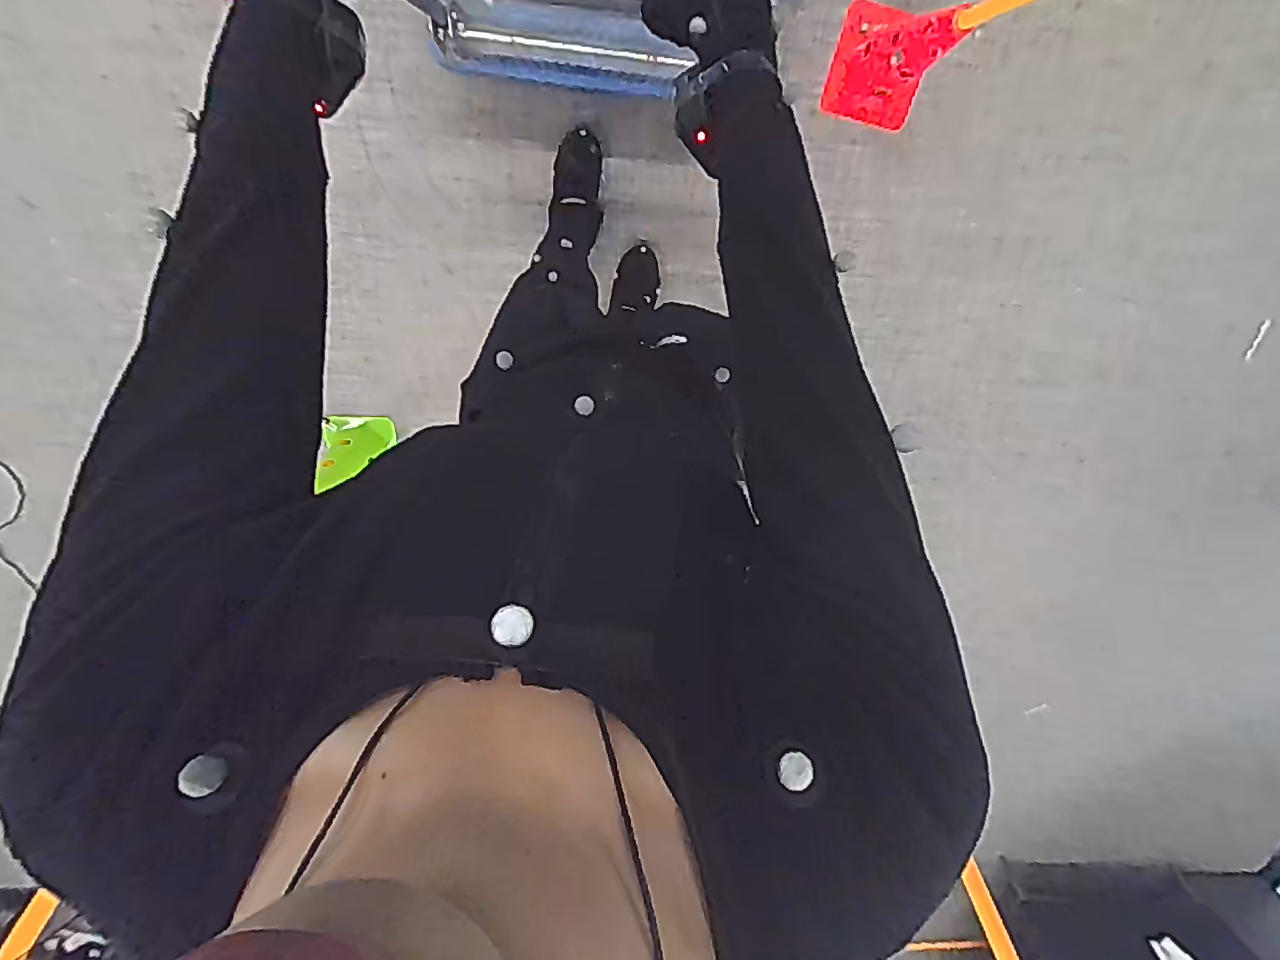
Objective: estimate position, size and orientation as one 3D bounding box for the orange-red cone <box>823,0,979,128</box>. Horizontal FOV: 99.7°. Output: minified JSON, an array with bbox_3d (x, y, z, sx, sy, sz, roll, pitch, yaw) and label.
[{"bbox_3d":[0.508,-0.799,0.992,0.198,0.360,0.199,12,117,-6],"label":"orange-red cone"}]
